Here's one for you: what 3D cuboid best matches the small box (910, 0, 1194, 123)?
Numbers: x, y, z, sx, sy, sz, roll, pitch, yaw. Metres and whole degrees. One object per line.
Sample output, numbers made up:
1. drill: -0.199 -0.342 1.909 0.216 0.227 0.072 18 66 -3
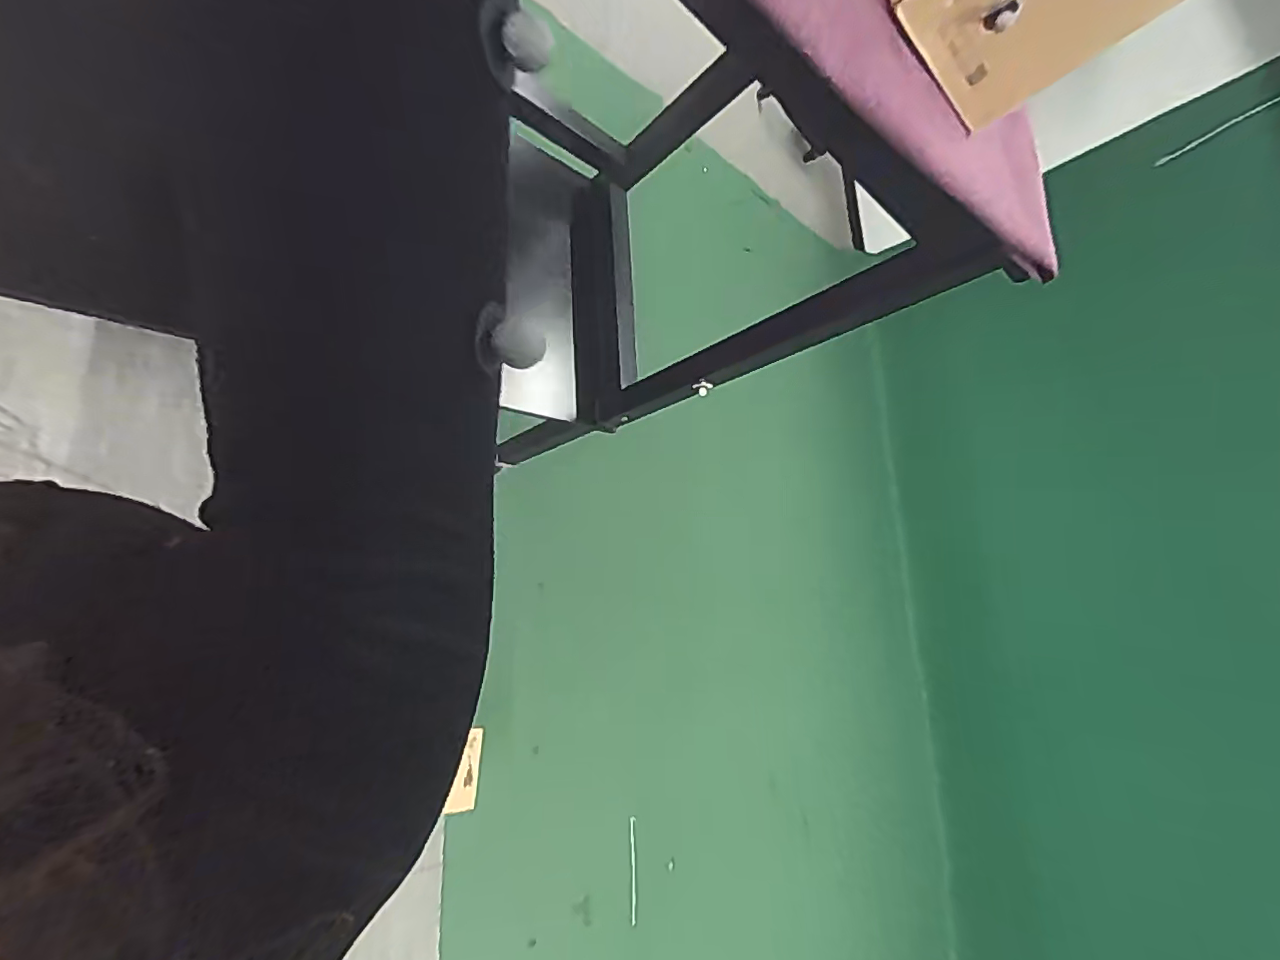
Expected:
1. small box: 0.304 -0.433 0.410 0.168 0.176 0.179 12 69 -39
